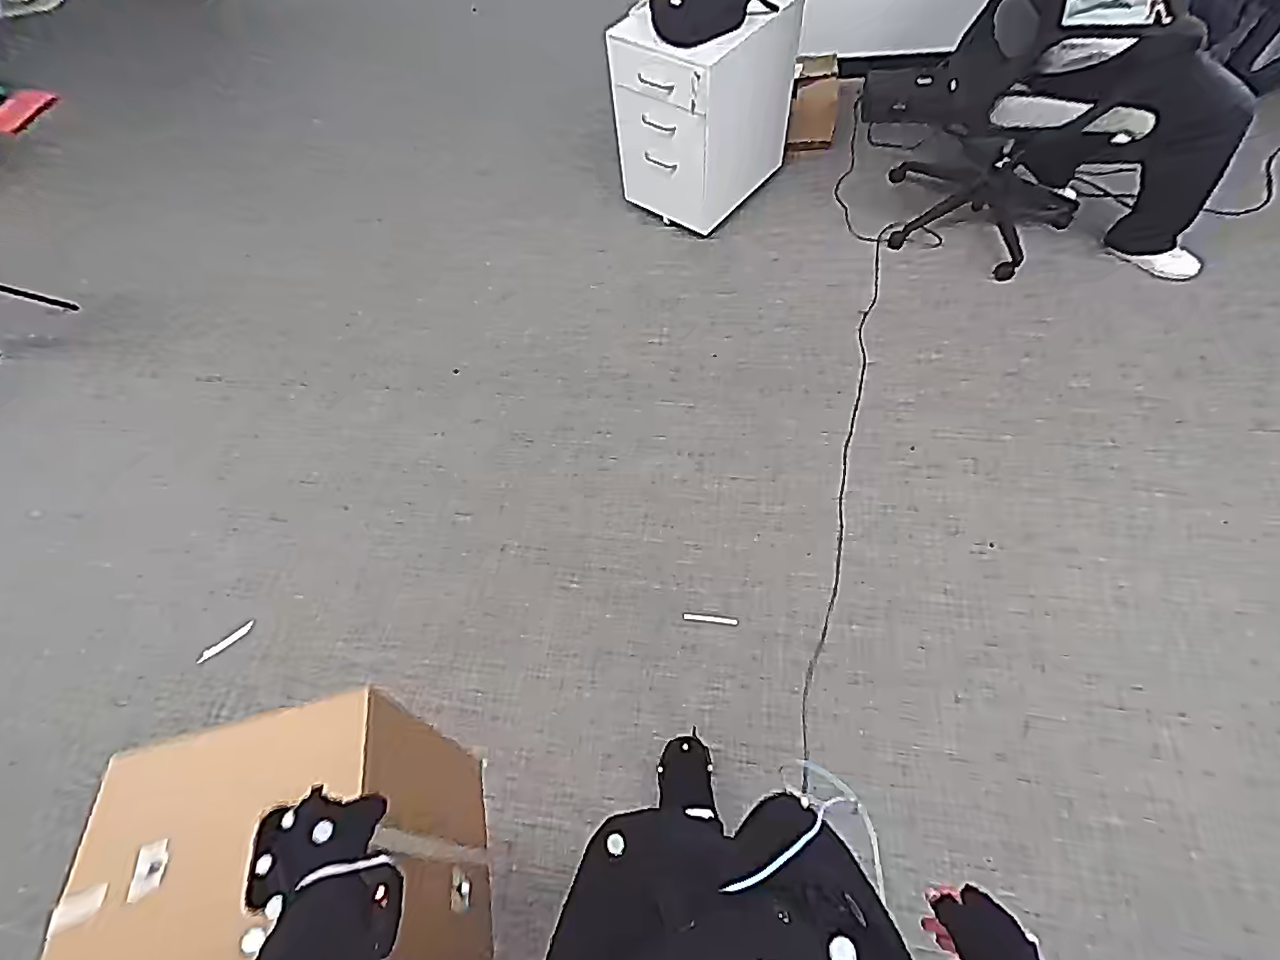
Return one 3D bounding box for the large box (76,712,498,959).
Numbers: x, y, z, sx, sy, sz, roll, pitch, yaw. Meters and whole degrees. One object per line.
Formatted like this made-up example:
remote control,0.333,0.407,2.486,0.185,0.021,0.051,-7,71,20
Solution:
large box,-0.409,0.555,0.705,0.320,0.408,0.320,-15,50,-5
